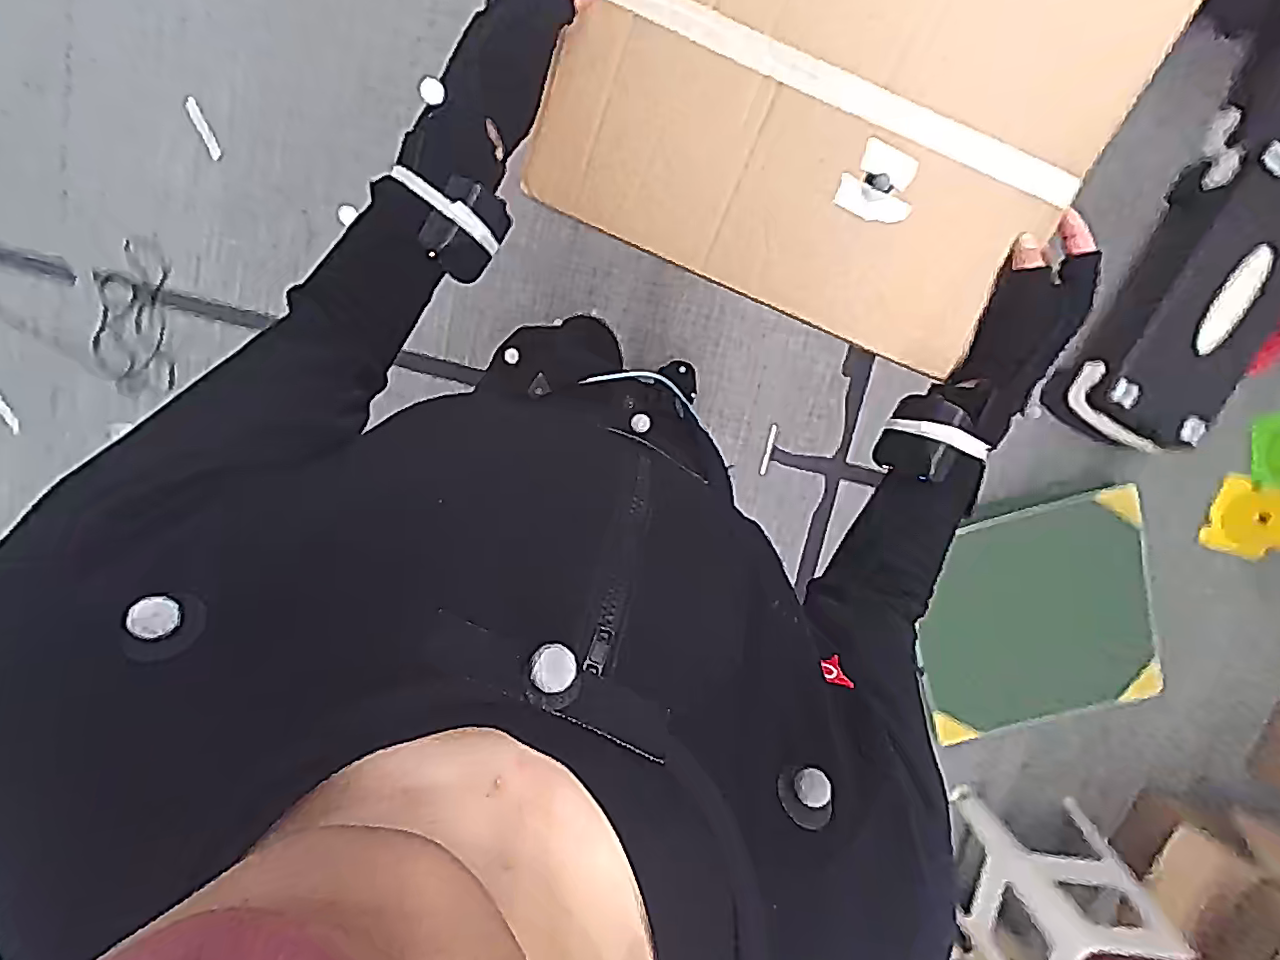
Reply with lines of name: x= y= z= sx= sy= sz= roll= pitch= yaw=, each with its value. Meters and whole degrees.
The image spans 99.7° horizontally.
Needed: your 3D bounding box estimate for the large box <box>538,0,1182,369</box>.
large box: x=0.161 y=-0.353 z=0.553 sx=0.408 sy=0.320 sz=0.320 roll=23 pitch=113 yaw=-3
